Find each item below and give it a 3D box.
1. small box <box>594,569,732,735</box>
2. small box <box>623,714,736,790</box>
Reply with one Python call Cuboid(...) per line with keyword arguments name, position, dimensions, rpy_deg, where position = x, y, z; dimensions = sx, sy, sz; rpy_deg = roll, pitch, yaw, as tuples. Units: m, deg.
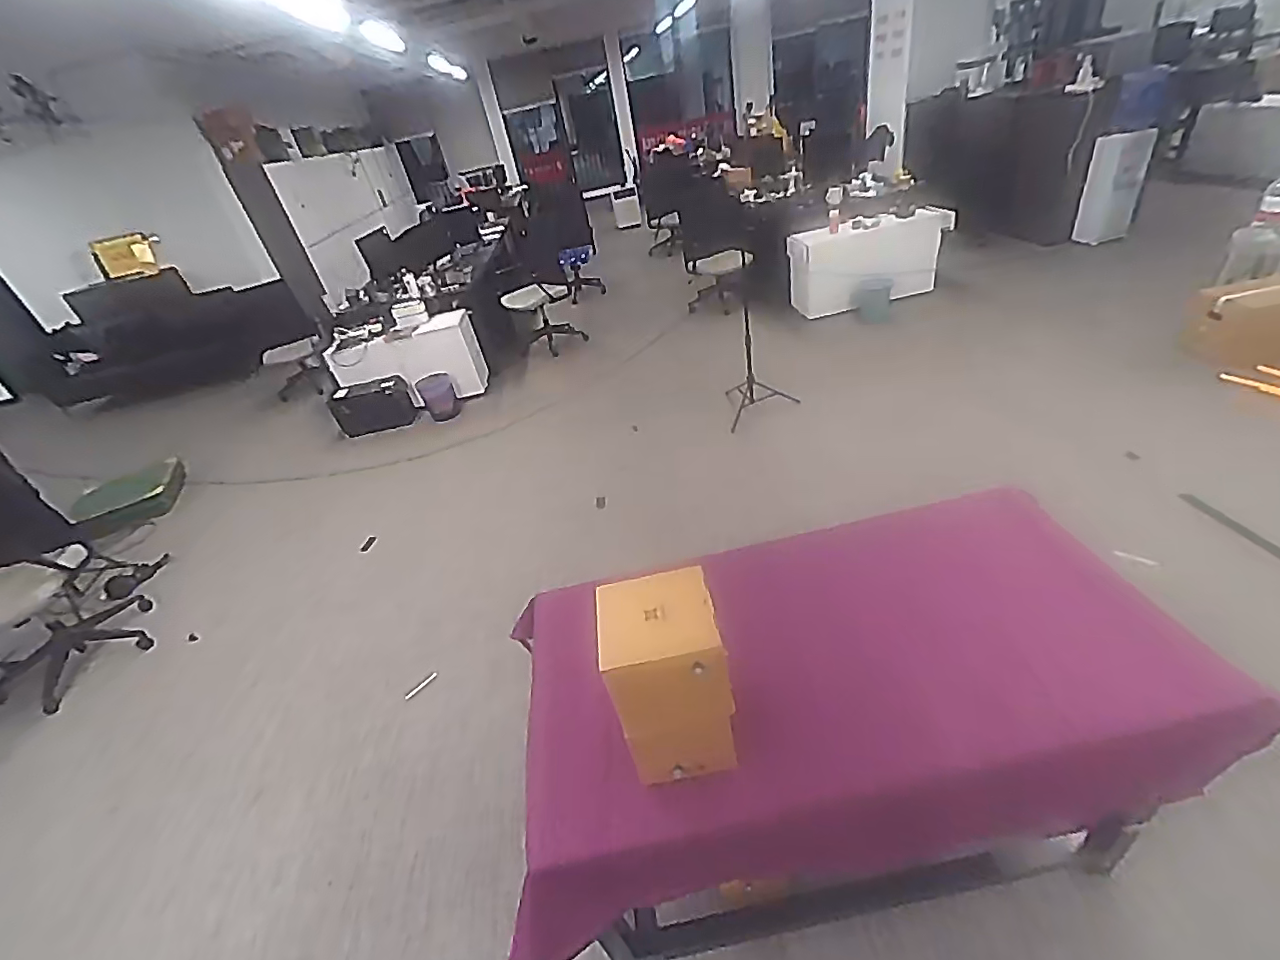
Cuboid(name="small box", position=(0.034, 0.269, 0.840), dimensions=(0.179, 0.176, 0.168), rpy_deg=(-12, 34, 2))
Cuboid(name="small box", position=(0.062, 0.397, 0.937), dimensions=(0.168, 0.176, 0.179), rpy_deg=(-13, 35, 2))
